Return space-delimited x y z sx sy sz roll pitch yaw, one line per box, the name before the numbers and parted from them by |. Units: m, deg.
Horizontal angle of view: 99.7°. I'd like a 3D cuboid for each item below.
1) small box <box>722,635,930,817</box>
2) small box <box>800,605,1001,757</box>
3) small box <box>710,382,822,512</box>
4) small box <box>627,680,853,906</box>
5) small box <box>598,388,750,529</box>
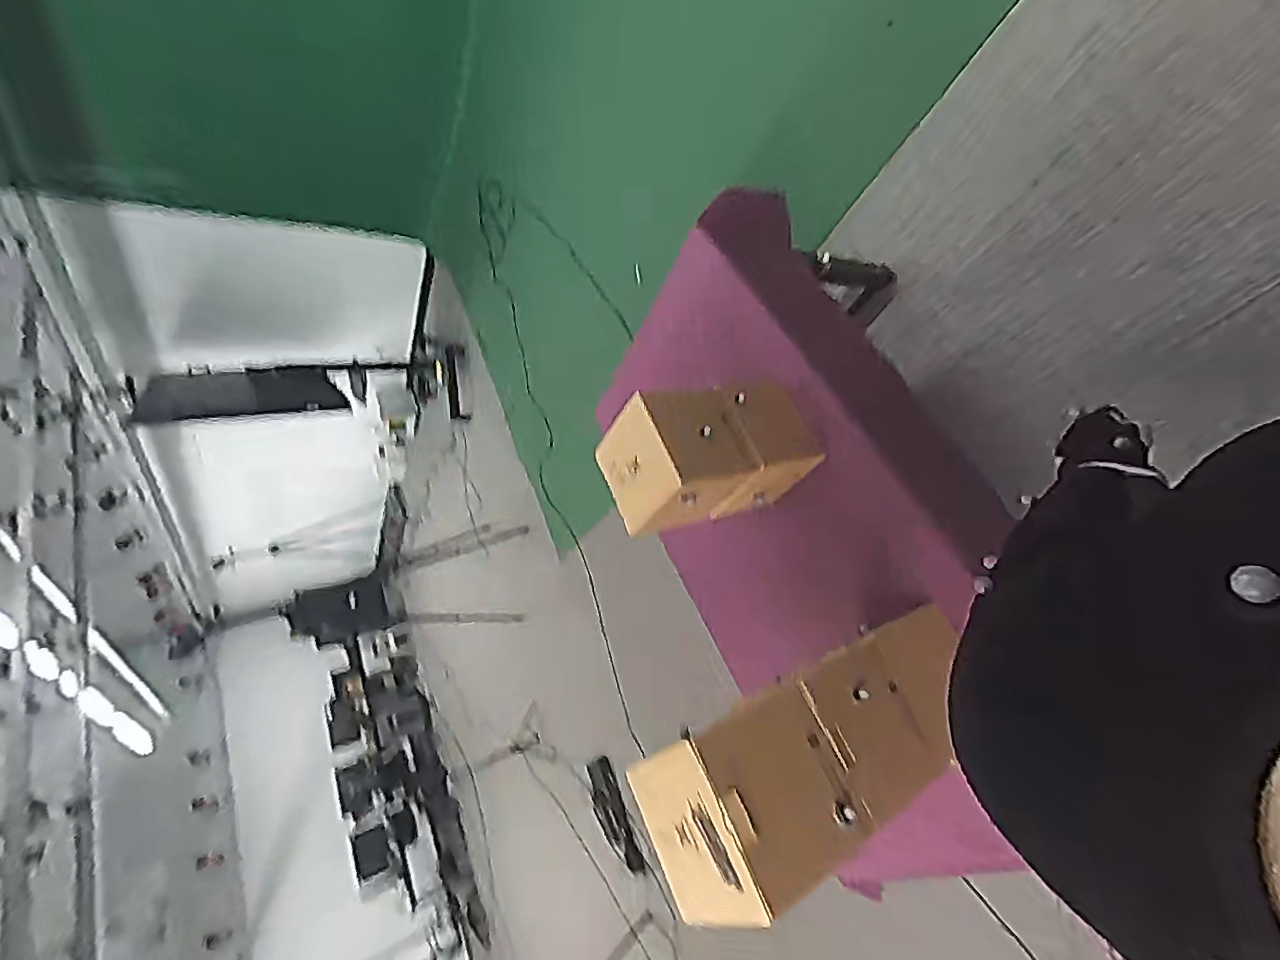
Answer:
small box | 0.250 0.326 0.722 0.179 0.176 0.168 -51 56 48
small box | 0.385 0.302 0.810 0.168 0.176 0.179 -53 55 47
small box | 0.196 -0.066 0.993 0.168 0.176 0.179 -52 56 47
small box | 0.117 0.356 0.630 0.168 0.176 0.179 63 143 25
small box | 0.060 -0.040 0.904 0.179 0.176 0.168 -49 58 49
